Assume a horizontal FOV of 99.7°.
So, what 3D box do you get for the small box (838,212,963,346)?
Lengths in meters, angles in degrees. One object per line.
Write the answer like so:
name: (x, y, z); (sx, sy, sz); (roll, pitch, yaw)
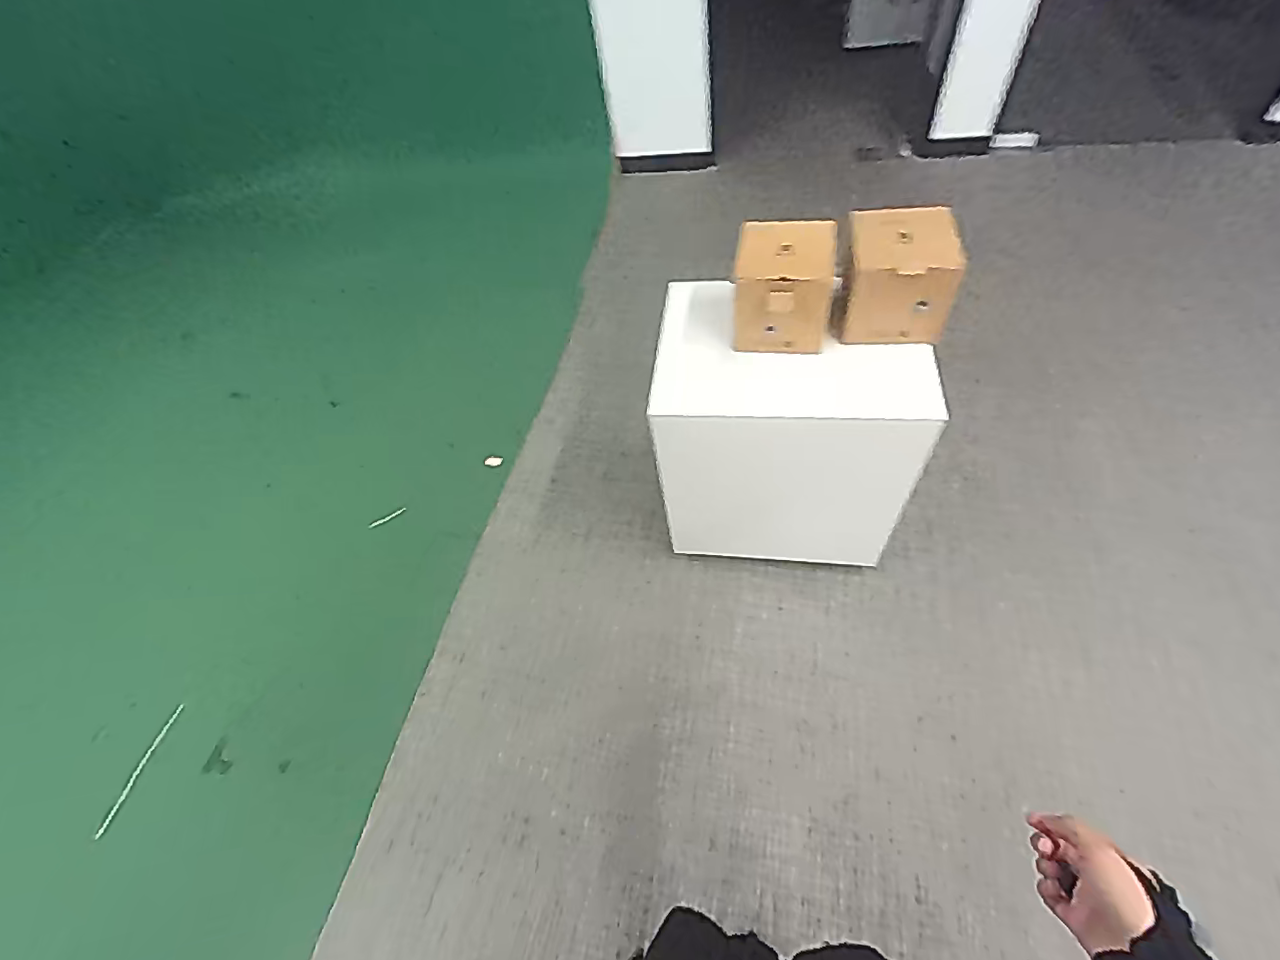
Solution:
small box: (0.464, -0.361, 0.992); (0.168, 0.176, 0.179); (2, 55, 11)
